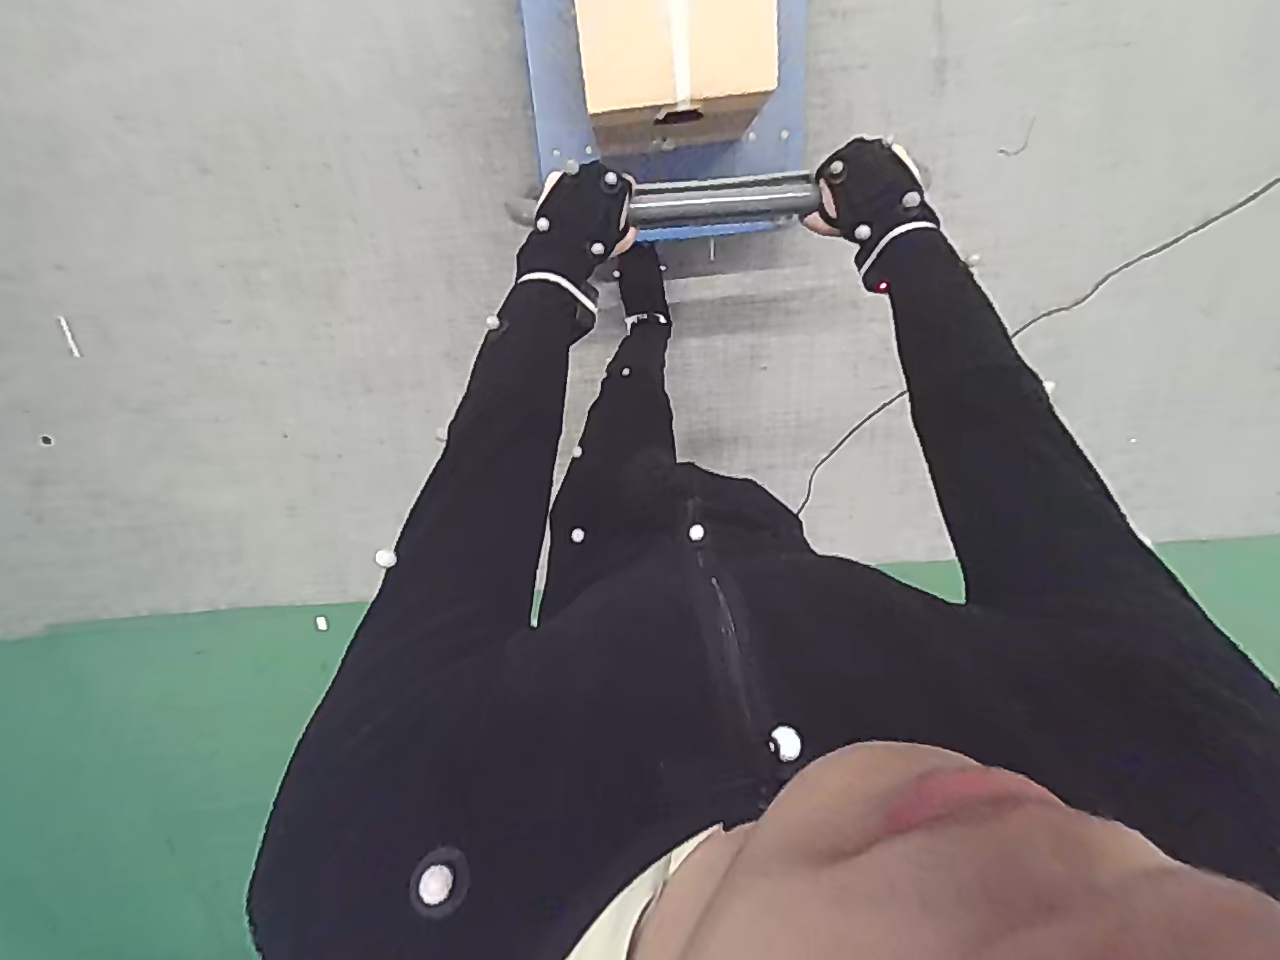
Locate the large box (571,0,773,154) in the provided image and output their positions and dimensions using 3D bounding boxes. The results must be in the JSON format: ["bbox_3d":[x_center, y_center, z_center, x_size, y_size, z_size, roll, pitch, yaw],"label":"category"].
[{"bbox_3d":[0.042,-0.858,0.960,0.320,0.320,0.408,-6,110,2],"label":"large box"}]
